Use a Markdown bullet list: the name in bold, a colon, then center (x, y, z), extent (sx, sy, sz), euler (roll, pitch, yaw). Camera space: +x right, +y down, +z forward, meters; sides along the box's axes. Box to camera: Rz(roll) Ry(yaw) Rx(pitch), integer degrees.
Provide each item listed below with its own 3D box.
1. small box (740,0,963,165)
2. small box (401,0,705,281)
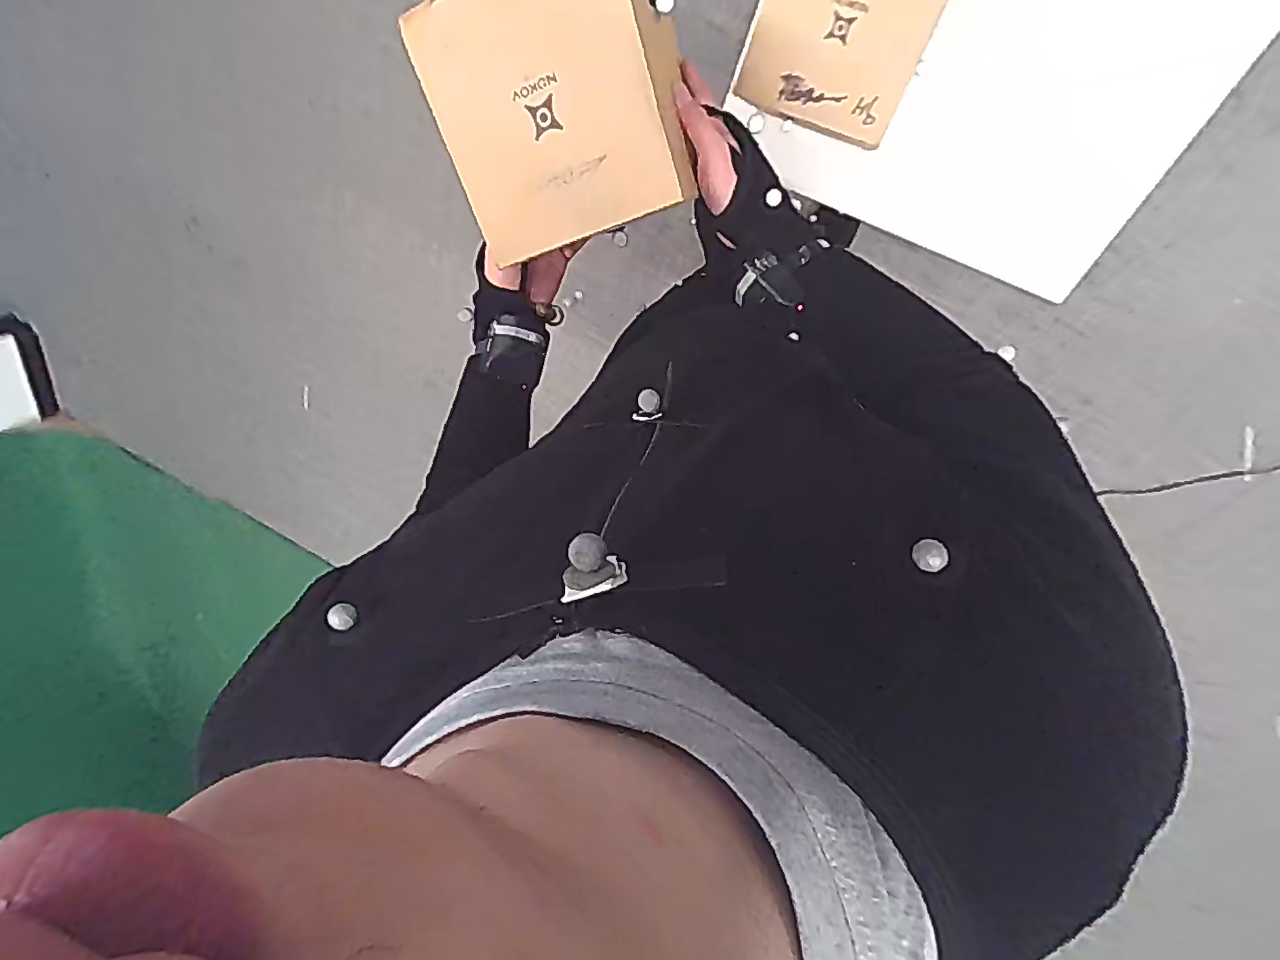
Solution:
- **small box**: center (0.227, -0.467, 0.588), extent (0.168, 0.176, 0.179), euler (25, 125, 7)
- **small box**: center (-0.053, -0.291, 0.459), extent (0.168, 0.176, 0.179), euler (-11, 116, 21)
